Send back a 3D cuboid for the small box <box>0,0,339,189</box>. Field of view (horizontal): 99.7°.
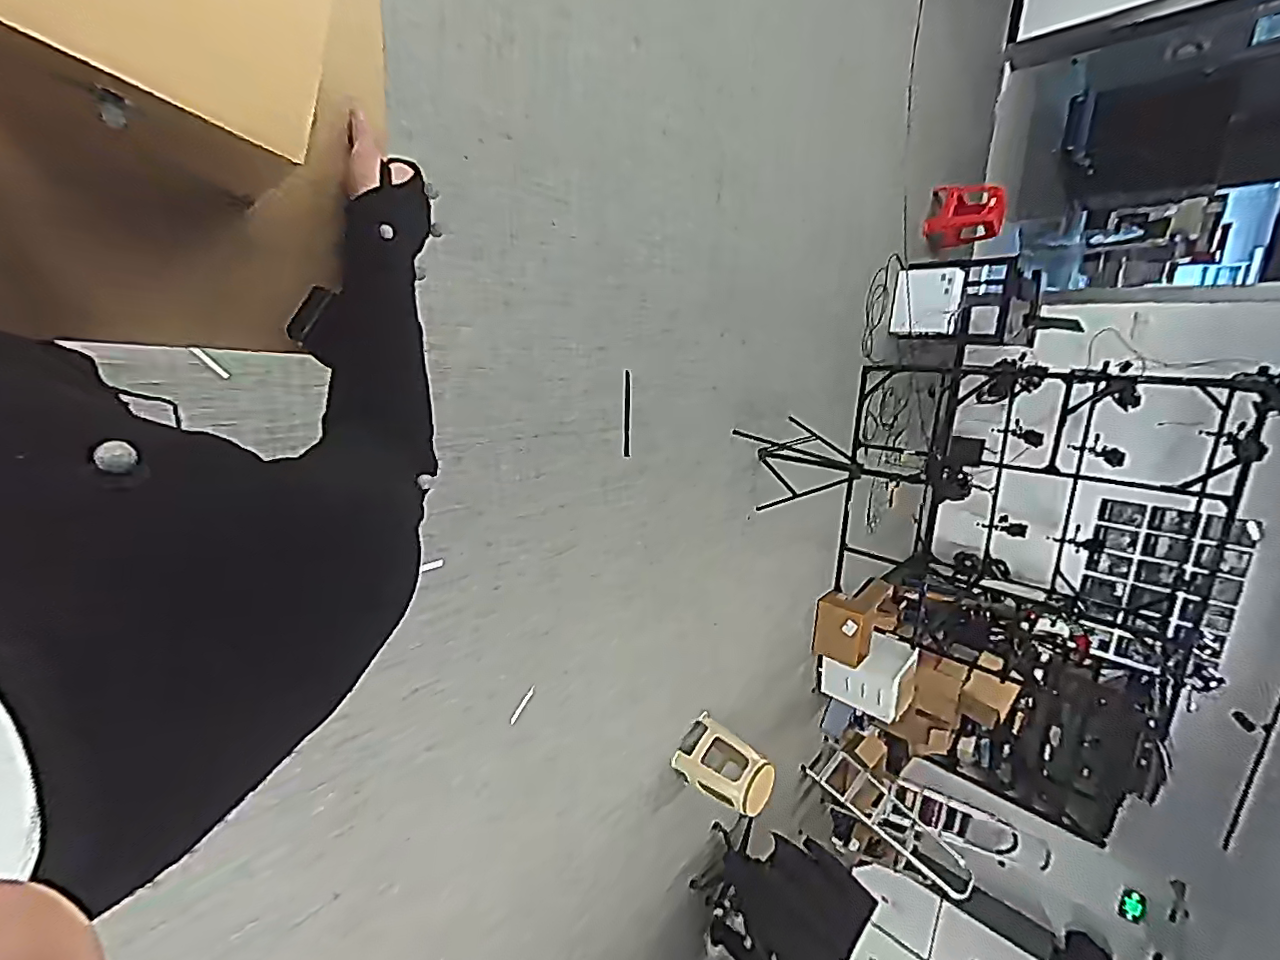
[{"bbox_3d":[-0.334,-0.327,0.374,0.179,0.176,0.168,10,95,-45],"label":"small box"}]
